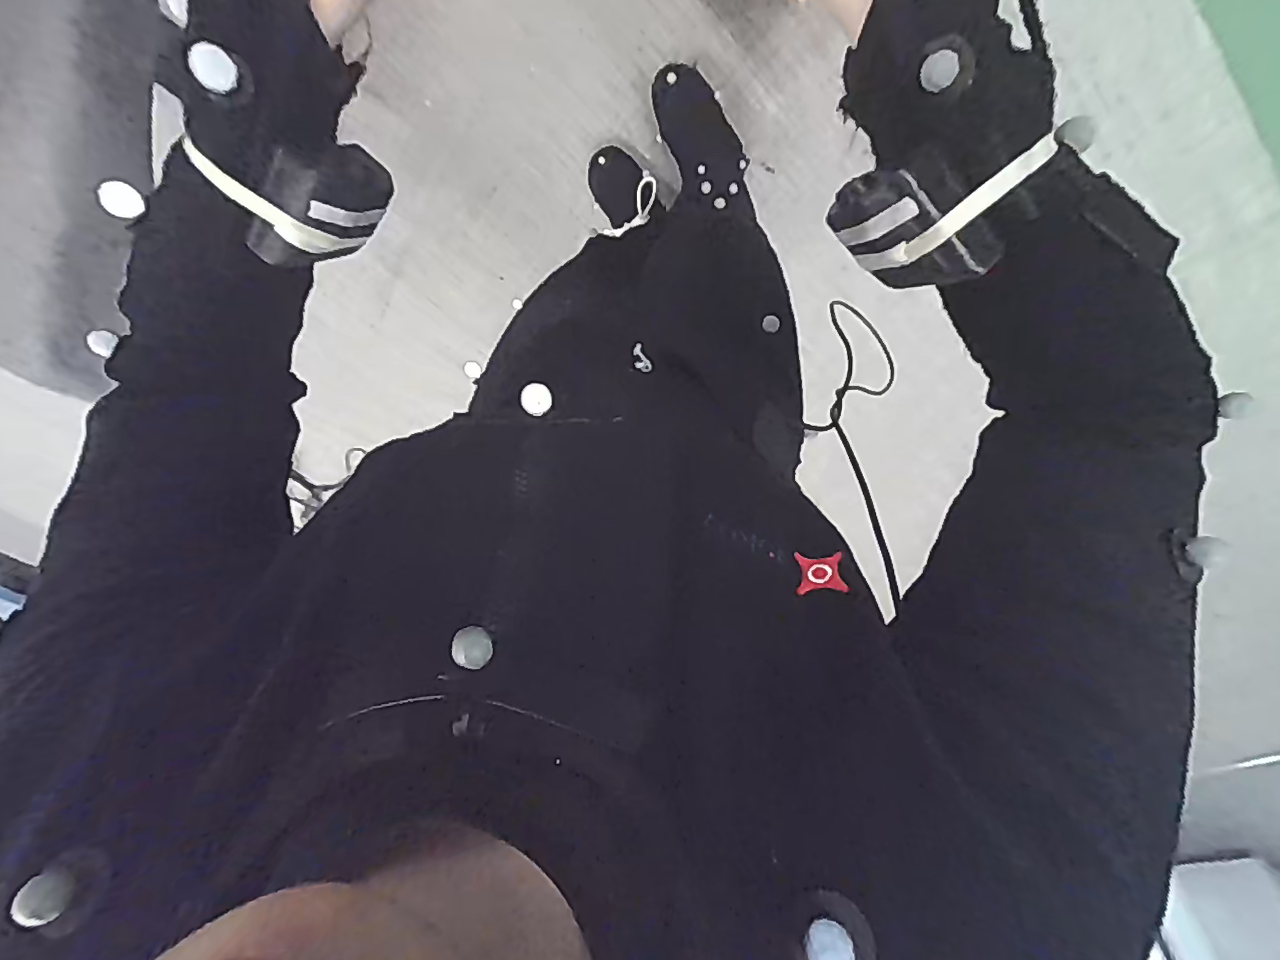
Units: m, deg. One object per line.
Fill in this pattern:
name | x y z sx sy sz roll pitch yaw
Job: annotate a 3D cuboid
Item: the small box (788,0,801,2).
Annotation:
small box | 0.226 -0.829 0.761 0.168 0.176 0.179 33 128 -19
